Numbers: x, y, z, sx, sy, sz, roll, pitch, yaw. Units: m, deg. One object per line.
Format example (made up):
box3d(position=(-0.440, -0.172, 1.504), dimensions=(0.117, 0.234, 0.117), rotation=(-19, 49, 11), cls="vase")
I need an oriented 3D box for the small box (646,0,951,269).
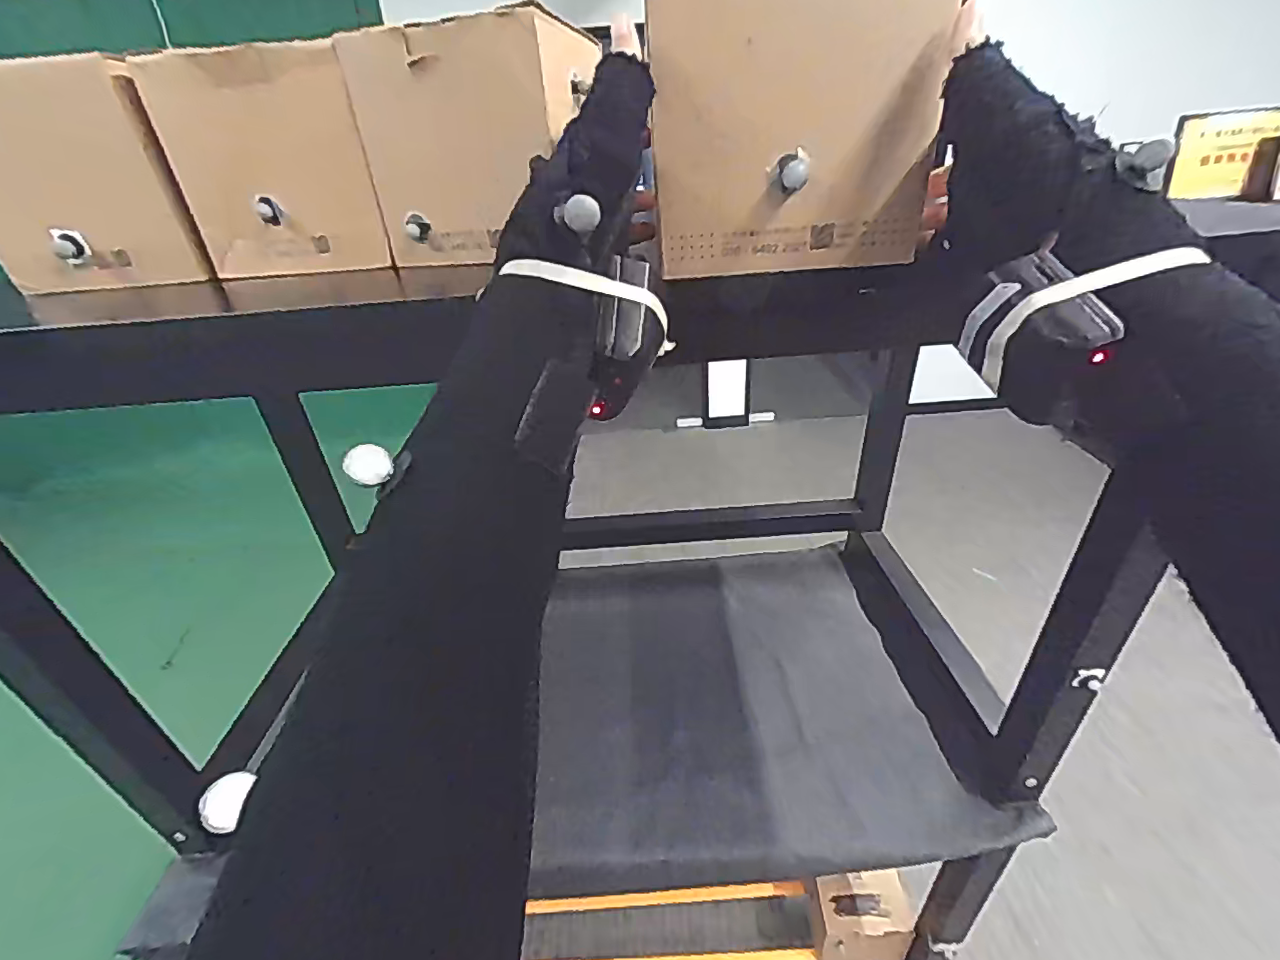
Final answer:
box3d(position=(0.090, -0.254, 0.390), dimensions=(0.168, 0.176, 0.179), rotation=(-3, 31, 3), cls="small box")
